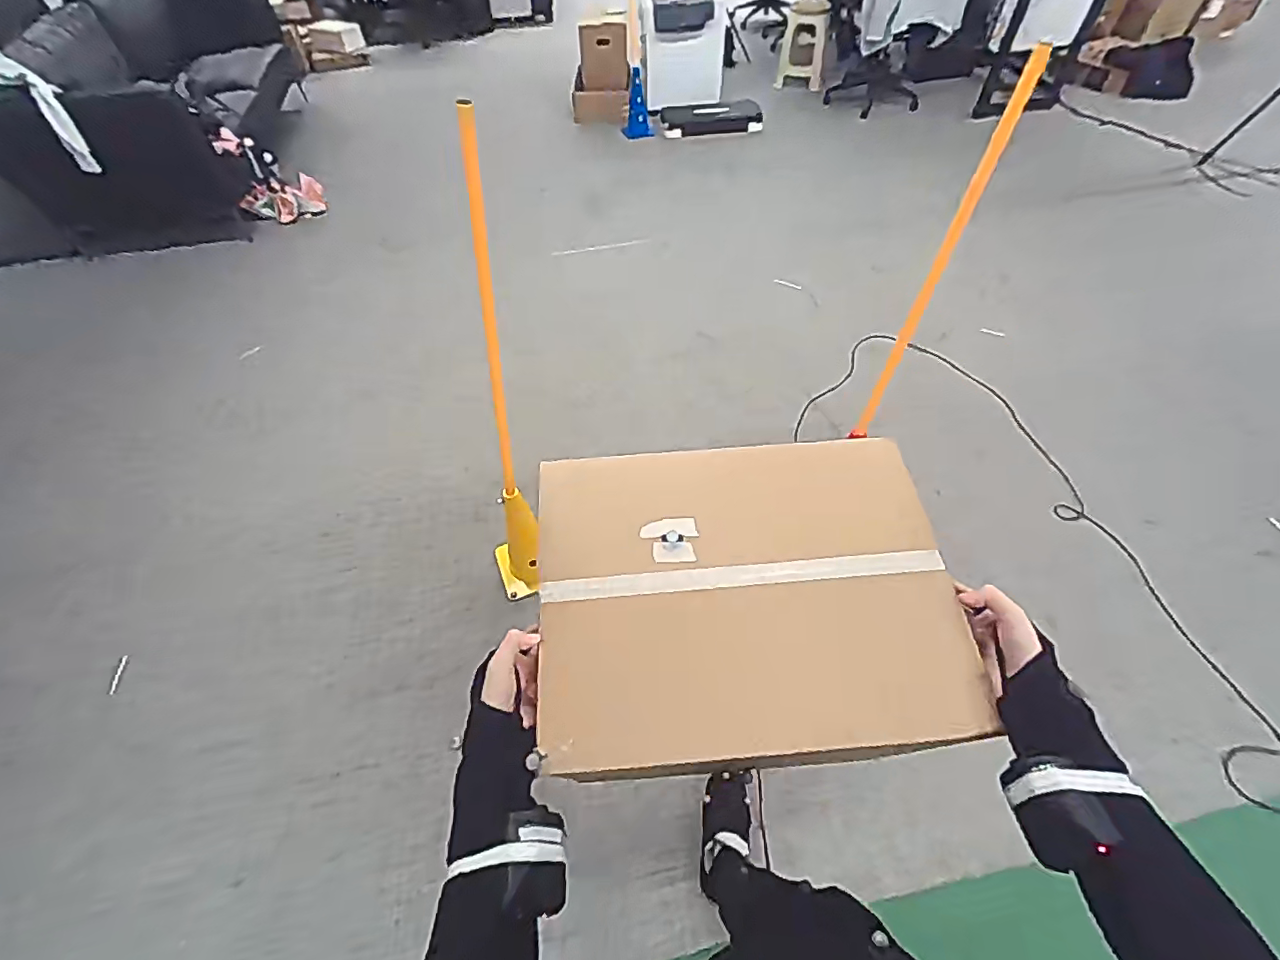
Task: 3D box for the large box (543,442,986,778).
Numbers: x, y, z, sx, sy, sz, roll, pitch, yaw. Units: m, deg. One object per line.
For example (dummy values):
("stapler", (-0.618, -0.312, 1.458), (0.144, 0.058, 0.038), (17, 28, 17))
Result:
("large box", (0.106, 0.179, 0.679), (0.408, 0.320, 0.320), (-5, 59, -1))
